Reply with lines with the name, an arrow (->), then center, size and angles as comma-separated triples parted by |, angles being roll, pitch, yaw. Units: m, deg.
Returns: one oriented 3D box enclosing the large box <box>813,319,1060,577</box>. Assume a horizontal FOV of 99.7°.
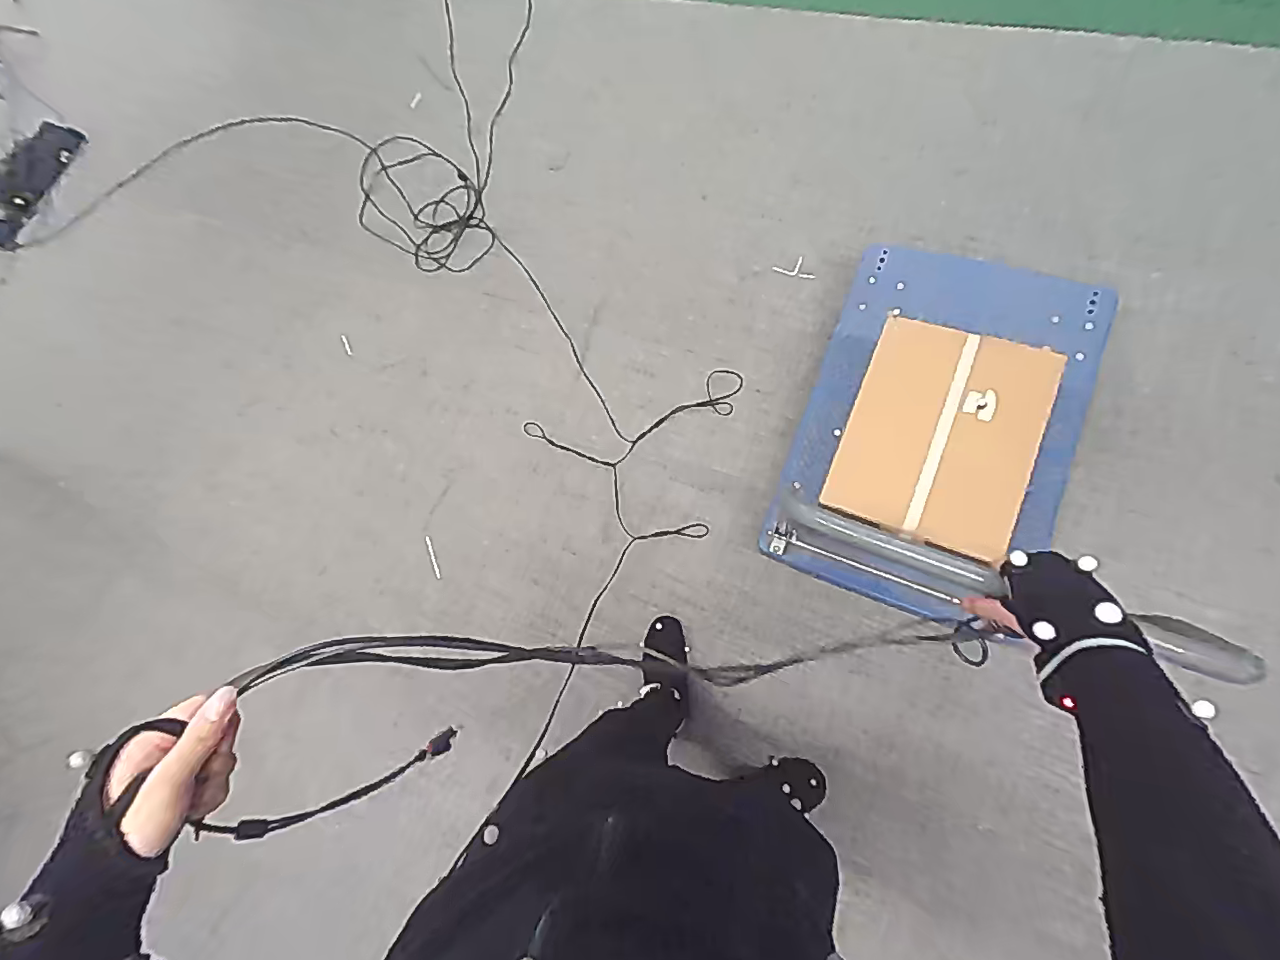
large box -> 0.580, -0.049, 1.125 | 0.320, 0.320, 0.408 | 21, 80, 17
